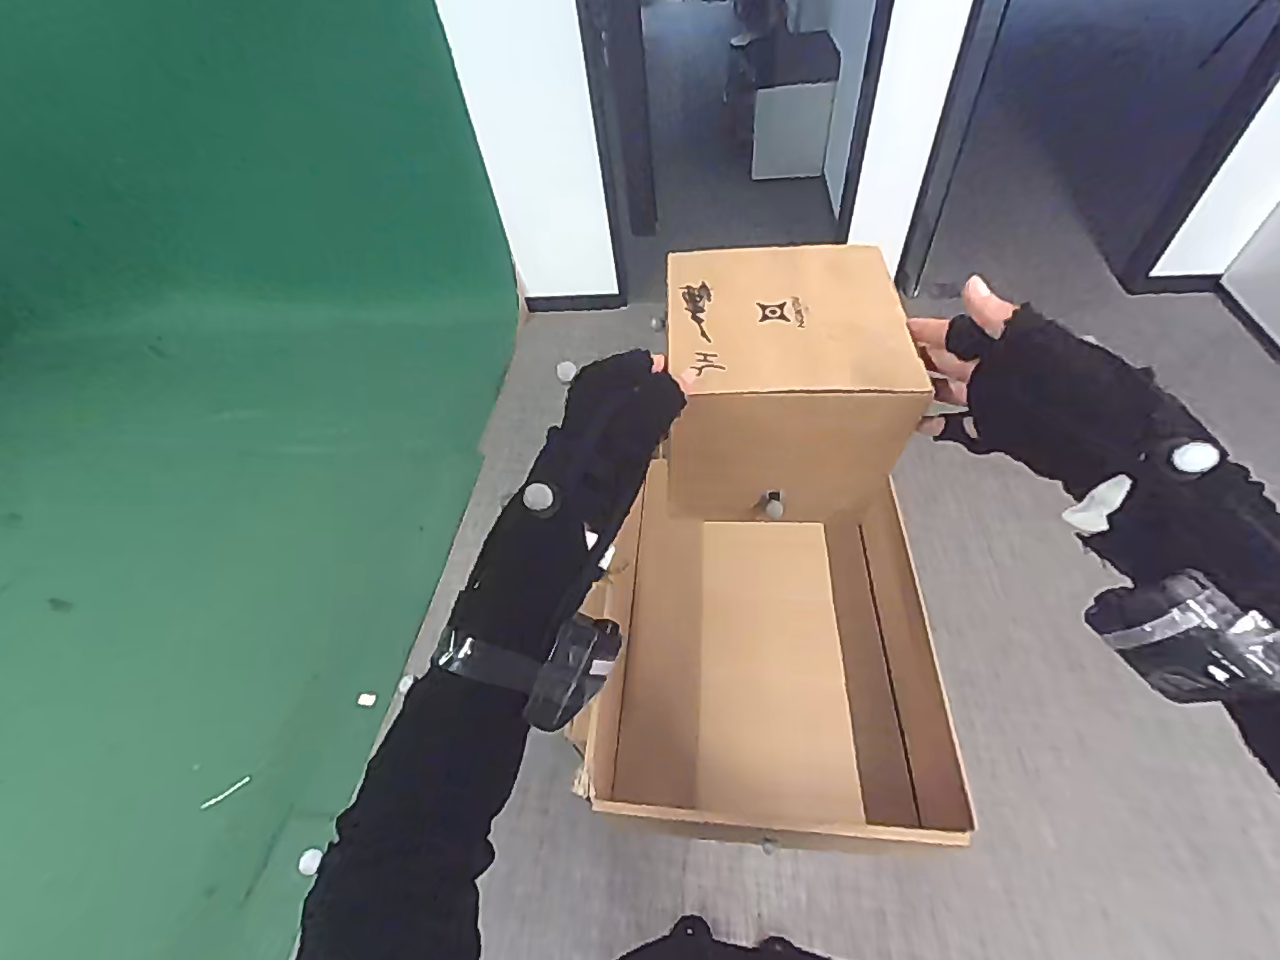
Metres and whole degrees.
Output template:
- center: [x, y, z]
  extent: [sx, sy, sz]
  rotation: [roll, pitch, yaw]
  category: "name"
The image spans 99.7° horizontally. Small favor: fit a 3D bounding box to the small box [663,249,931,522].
- center: [0.111, -0.075, 0.466]
  extent: [0.179, 0.176, 0.168]
  rotation: [1, 54, 3]
  category: "small box"
